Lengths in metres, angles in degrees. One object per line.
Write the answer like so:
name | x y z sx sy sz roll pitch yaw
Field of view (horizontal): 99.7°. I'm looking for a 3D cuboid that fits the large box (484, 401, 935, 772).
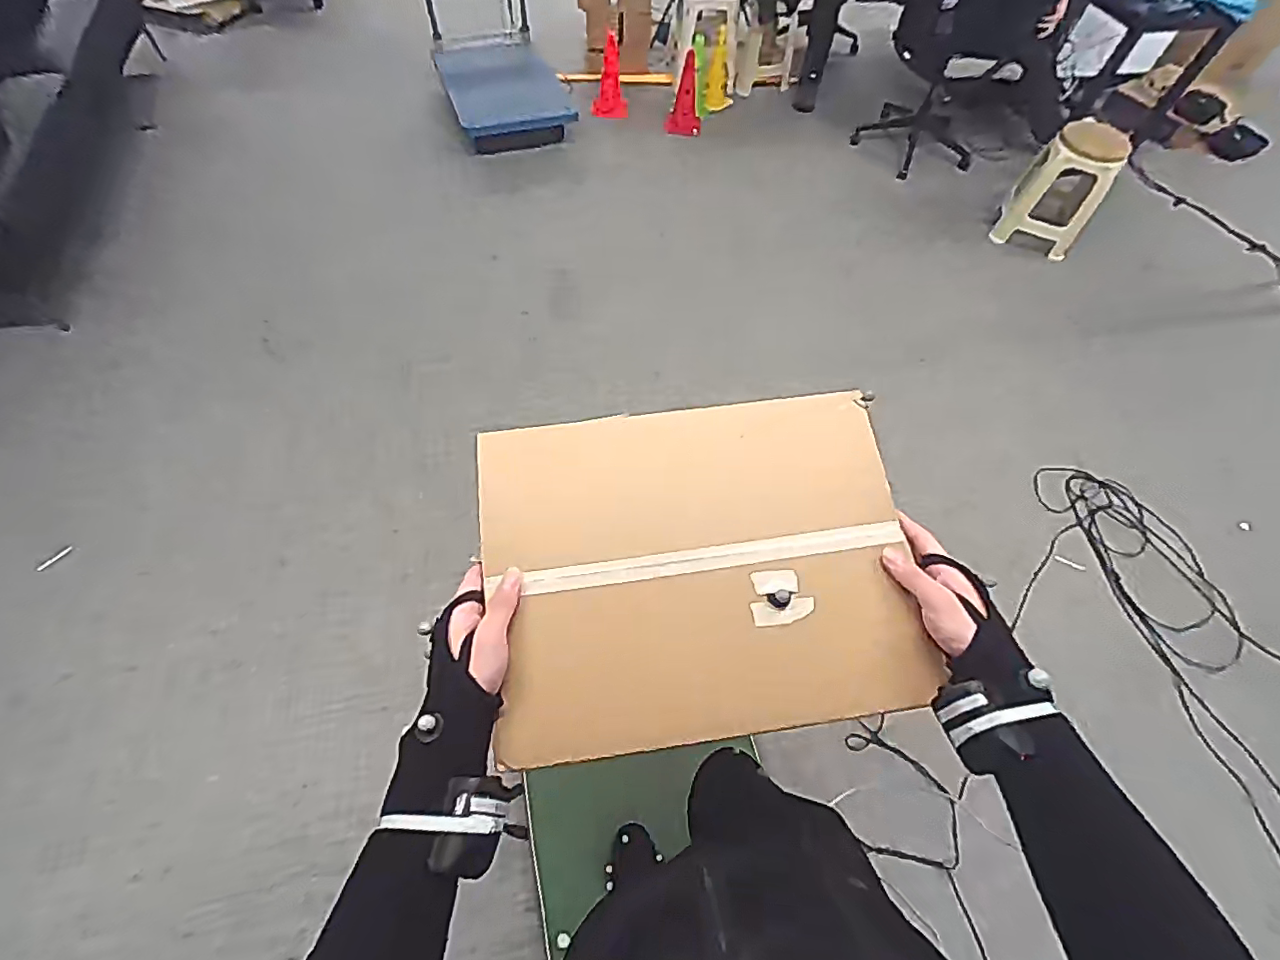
large box | 0.050 0.132 0.670 0.408 0.320 0.320 -7 72 -5
